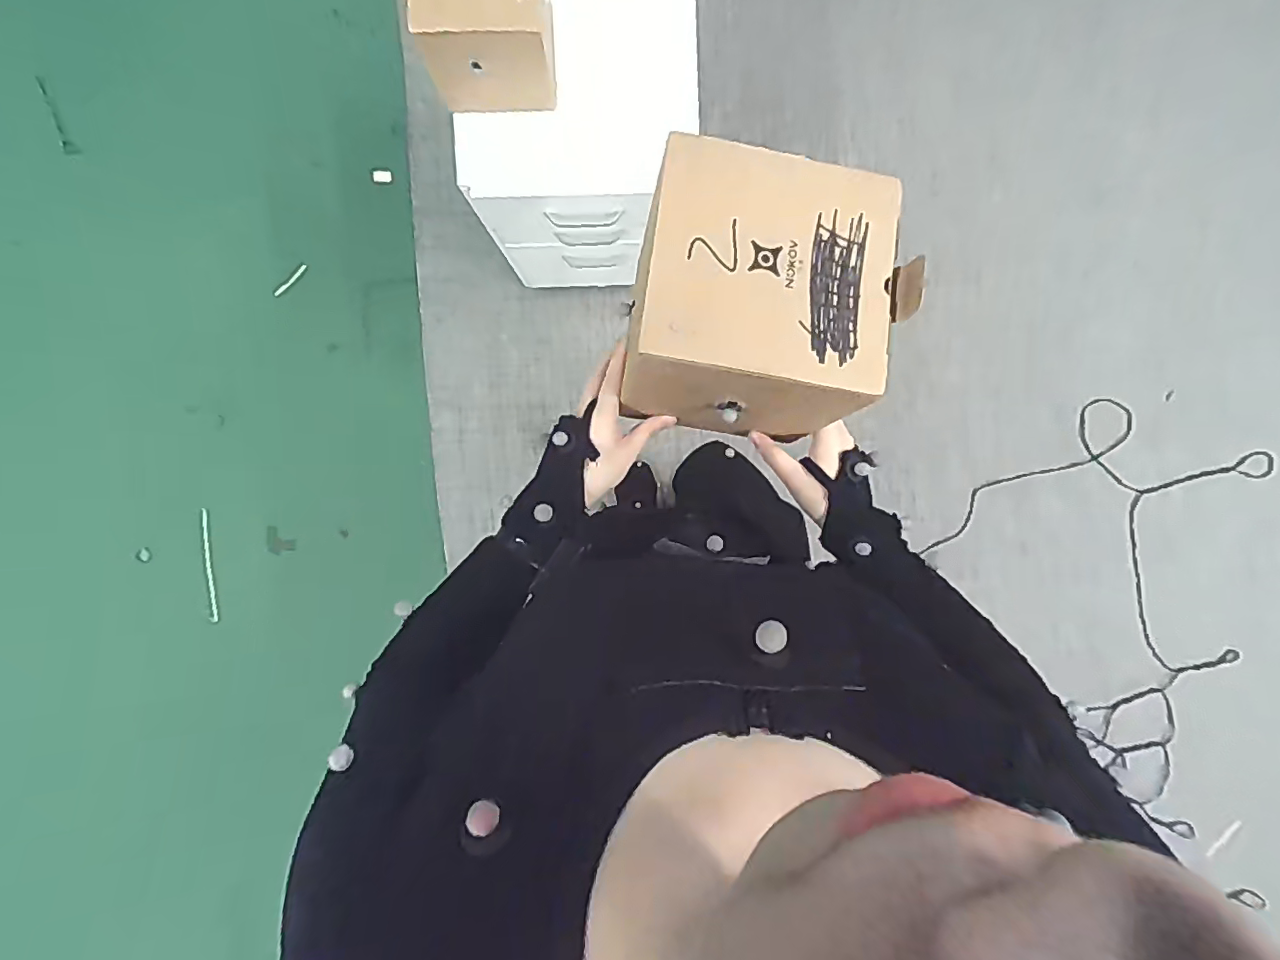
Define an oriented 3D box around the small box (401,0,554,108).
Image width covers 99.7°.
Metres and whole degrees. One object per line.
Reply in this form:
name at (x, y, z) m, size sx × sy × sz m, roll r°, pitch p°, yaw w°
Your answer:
small box at (-0.224, -0.666, 0.774) m, size 0.179 × 0.176 × 0.168 m, roll -2°, pitch 94°, yaw -2°
